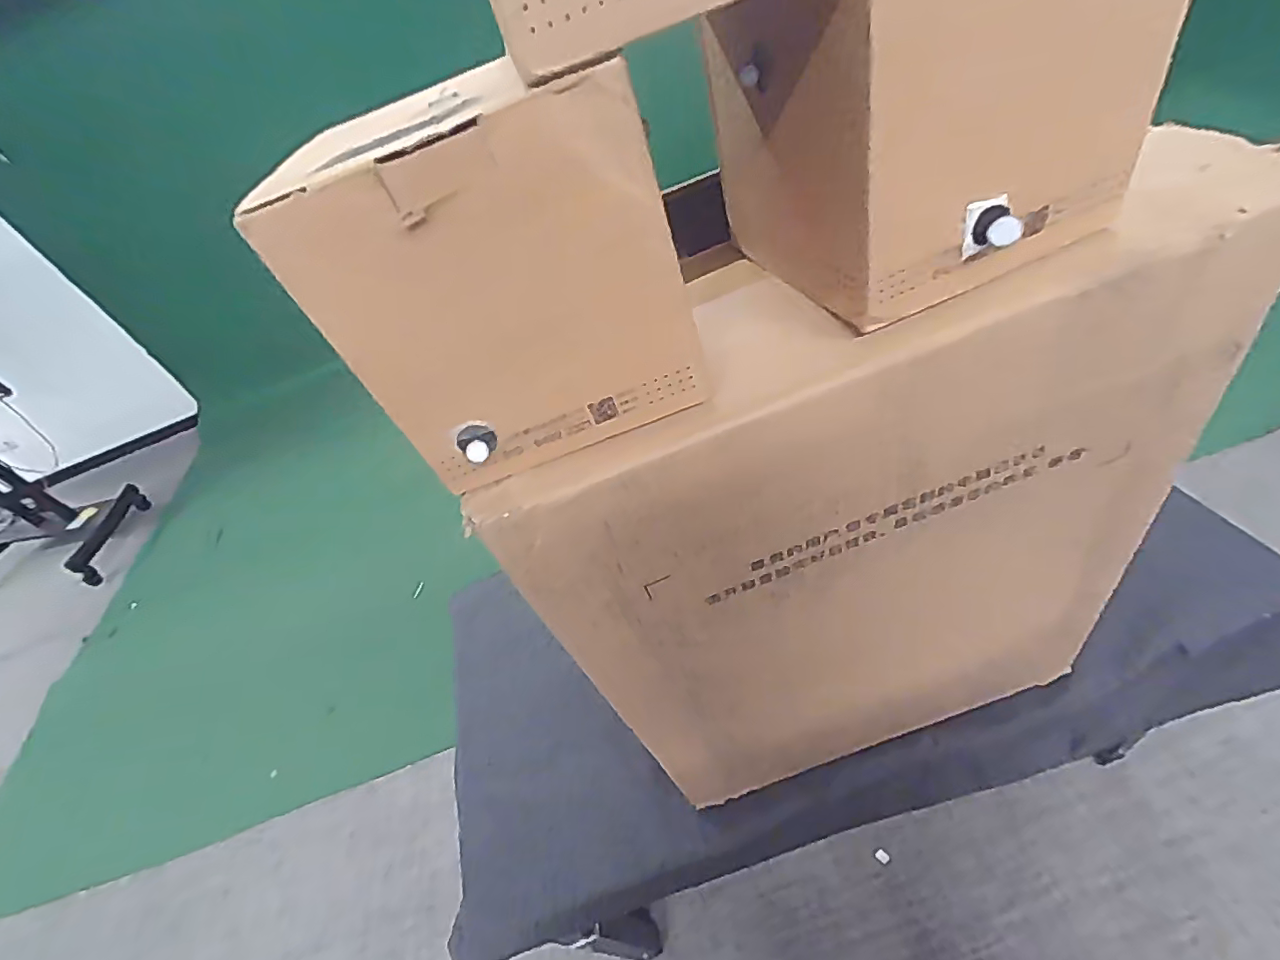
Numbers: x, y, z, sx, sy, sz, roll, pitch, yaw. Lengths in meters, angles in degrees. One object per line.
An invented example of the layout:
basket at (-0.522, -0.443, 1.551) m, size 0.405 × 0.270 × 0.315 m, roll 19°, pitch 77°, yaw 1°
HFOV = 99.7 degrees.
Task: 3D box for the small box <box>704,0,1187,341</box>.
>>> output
small box at (0.152, -0.211, 0.318) m, size 0.168 × 0.176 × 0.179 m, roll -26°, pitch 44°, yaw -2°

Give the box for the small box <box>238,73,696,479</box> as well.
small box at (-0.077, -0.121, 0.325) m, size 0.168 × 0.176 × 0.179 m, roll -20°, pitch 42°, yaw 4°

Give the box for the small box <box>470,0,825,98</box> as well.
small box at (-0.010, -0.275, 0.209) m, size 0.168 × 0.176 × 0.179 m, roll -20°, pitch 42°, yaw 3°
